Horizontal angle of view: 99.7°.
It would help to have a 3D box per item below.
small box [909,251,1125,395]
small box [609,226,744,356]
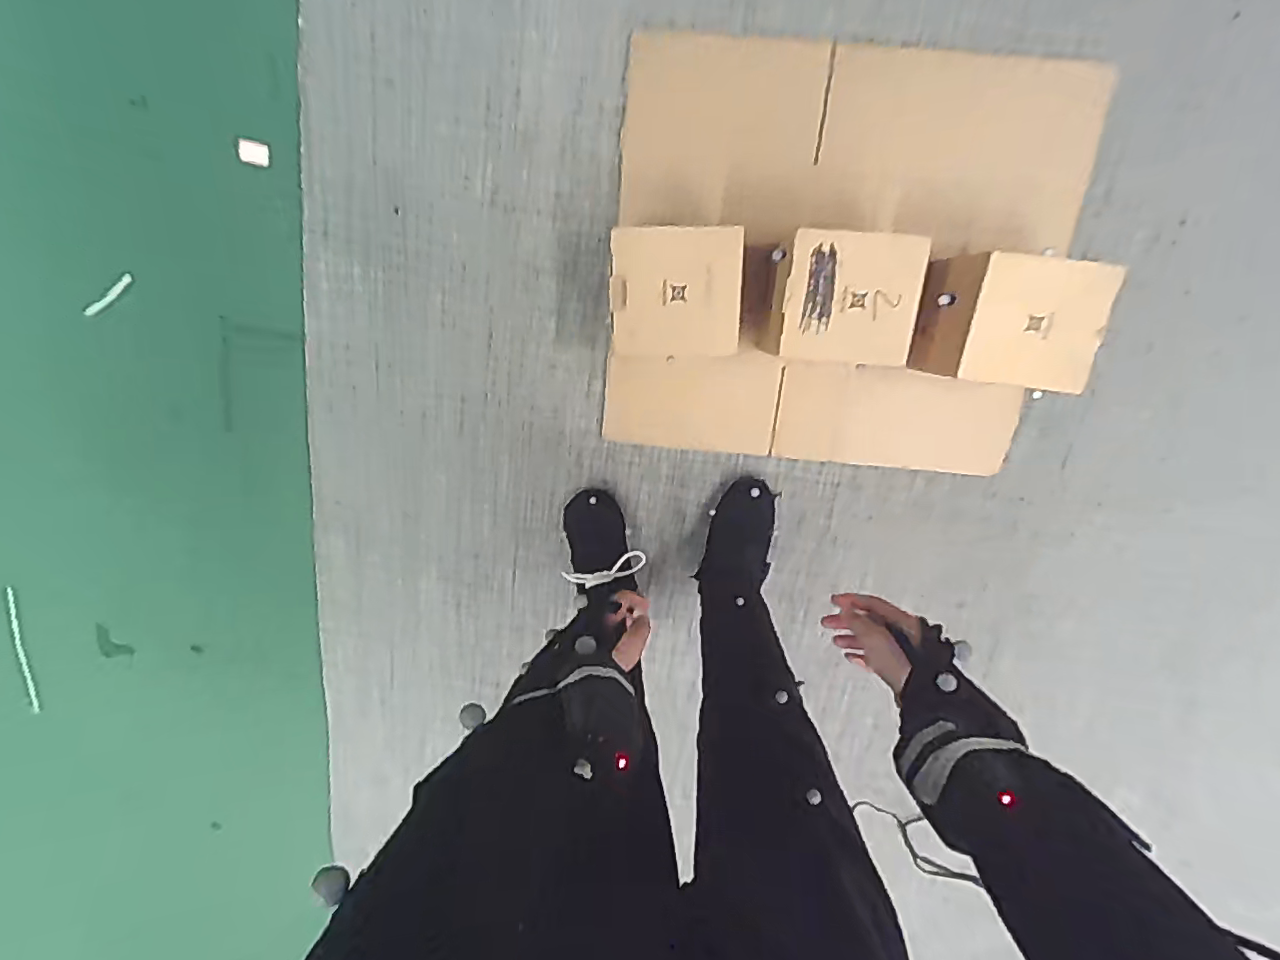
[{"bbox_3d":[0.524,-0.224,0.784,0.179,0.176,0.168,7,107,0],"label":"small box"},{"bbox_3d":[0.050,-0.273,0.796,0.179,0.176,0.168,0,108,2],"label":"small box"}]
